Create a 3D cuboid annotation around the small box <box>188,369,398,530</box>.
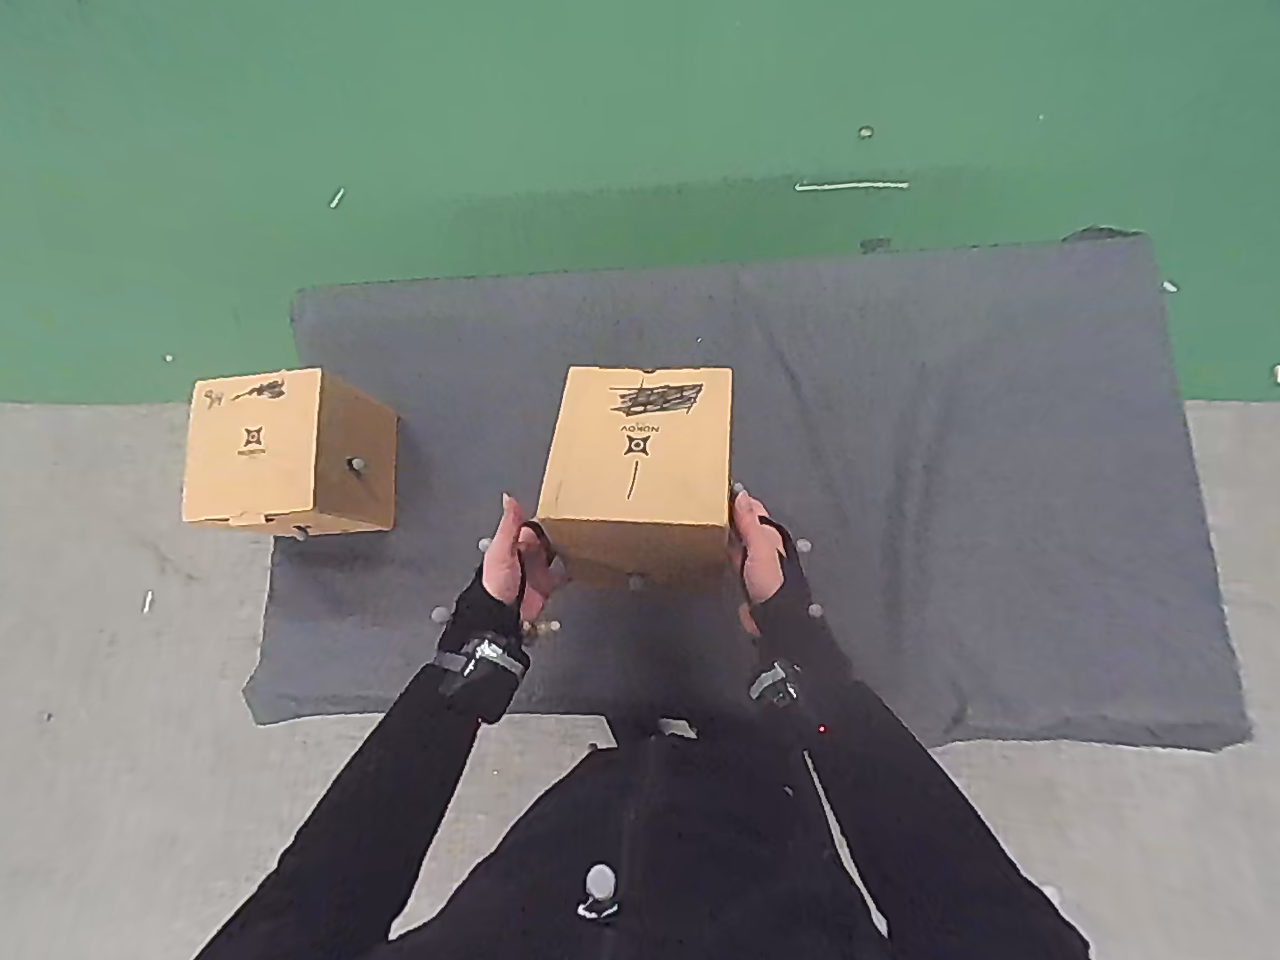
[{"bbox_3d":[-0.437,-0.027,0.709,0.168,0.176,0.179,-5,79,5],"label":"small box"}]
